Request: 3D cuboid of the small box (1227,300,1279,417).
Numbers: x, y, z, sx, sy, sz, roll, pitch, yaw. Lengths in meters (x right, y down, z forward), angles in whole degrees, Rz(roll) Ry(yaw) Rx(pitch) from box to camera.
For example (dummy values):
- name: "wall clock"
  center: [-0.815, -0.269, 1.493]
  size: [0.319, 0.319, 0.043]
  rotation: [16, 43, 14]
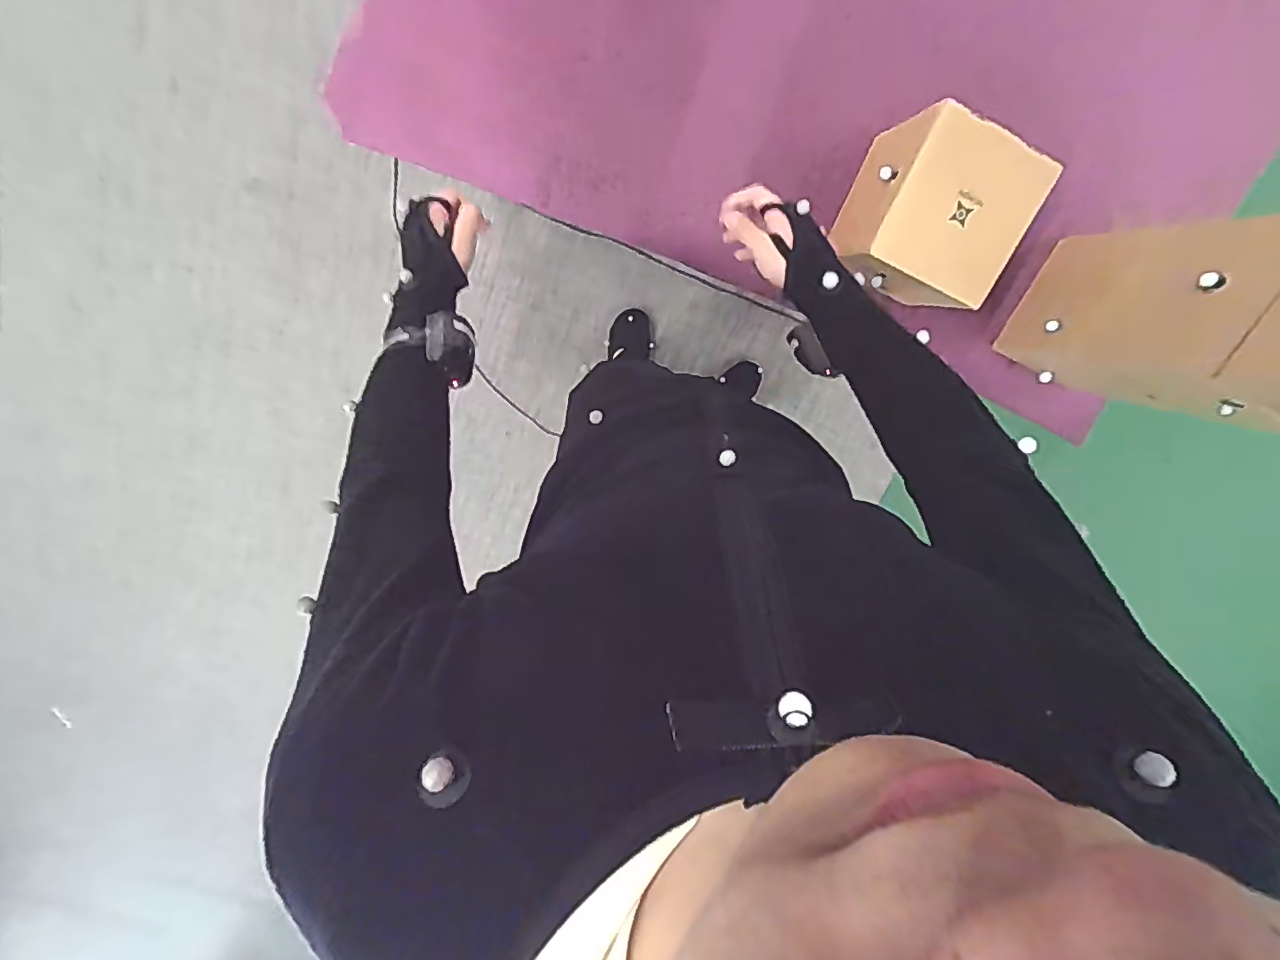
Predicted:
- name: "small box"
  center: [0.678, -0.118, 0.447]
  size: [0.168, 0.176, 0.179]
  rotation: [22, 107, -9]

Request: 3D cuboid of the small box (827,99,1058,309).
- name: "small box"
  center: [0.369, -0.339, 0.704]
  size: [0.168, 0.176, 0.179]
  rotation: [22, 106, -10]

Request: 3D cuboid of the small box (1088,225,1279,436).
- name: "small box"
  center: [0.670, -0.168, 0.603]
  size: [0.168, 0.176, 0.179]
  rotation: [23, 106, -9]
